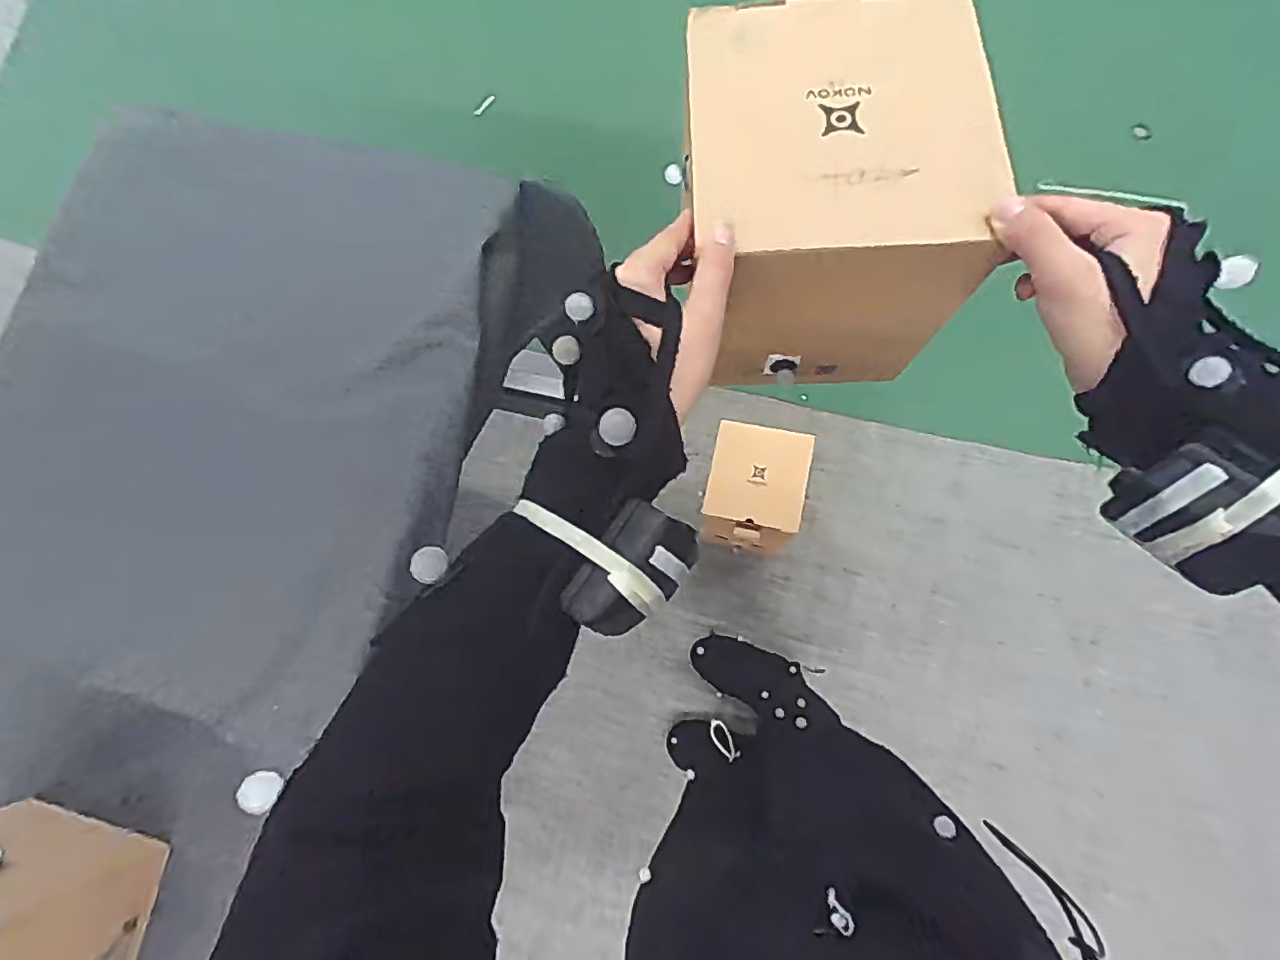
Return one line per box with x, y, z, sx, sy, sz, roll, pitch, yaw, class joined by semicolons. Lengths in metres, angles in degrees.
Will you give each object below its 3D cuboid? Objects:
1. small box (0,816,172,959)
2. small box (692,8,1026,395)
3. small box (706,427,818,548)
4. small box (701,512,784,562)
-0.555;0.406;0.442;0.179;0.176;0.168;10;80;9;small box
0.123;-0.176;0.382;0.168;0.176;0.179;-2;75;4;small box
0.217;0.020;1.000;0.168;0.176;0.179;11;80;10;small box
0.233;0.072;1.157;0.168;0.176;0.179;12;80;11;small box
